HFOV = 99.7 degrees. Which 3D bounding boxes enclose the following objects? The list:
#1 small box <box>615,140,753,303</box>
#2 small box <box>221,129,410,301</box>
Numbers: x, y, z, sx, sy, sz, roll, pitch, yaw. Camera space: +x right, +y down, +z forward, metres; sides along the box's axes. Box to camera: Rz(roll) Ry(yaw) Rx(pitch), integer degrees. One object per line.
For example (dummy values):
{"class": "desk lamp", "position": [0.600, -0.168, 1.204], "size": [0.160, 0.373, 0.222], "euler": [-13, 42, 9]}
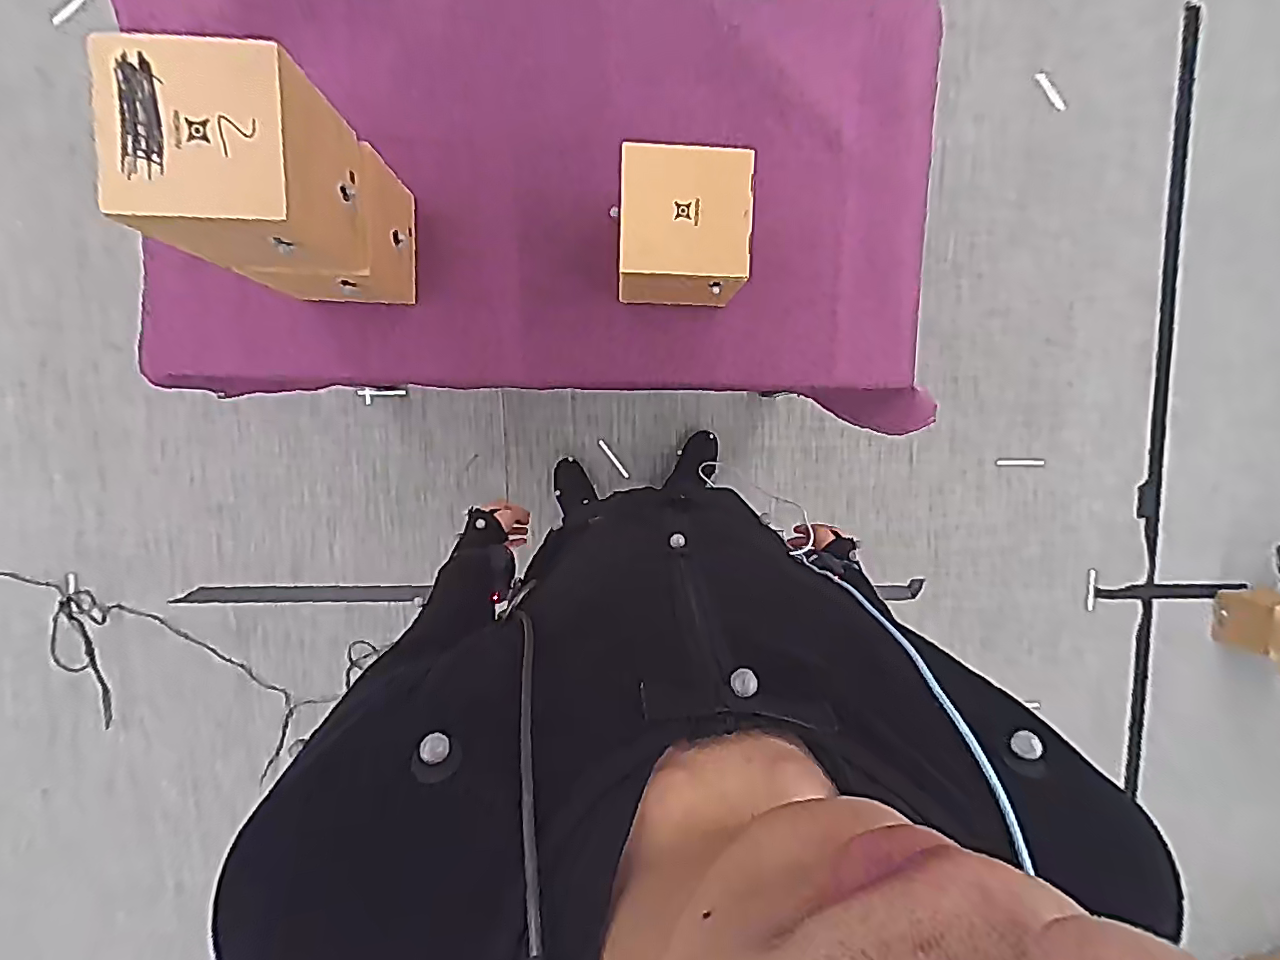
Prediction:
{"class": "small box", "position": [0.054, -0.359, 0.782], "size": [0.179, 0.176, 0.168], "euler": [1, 96, -4]}
{"class": "small box", "position": [-0.434, -0.353, 0.753], "size": [0.179, 0.176, 0.168], "euler": [2, 96, -4]}
